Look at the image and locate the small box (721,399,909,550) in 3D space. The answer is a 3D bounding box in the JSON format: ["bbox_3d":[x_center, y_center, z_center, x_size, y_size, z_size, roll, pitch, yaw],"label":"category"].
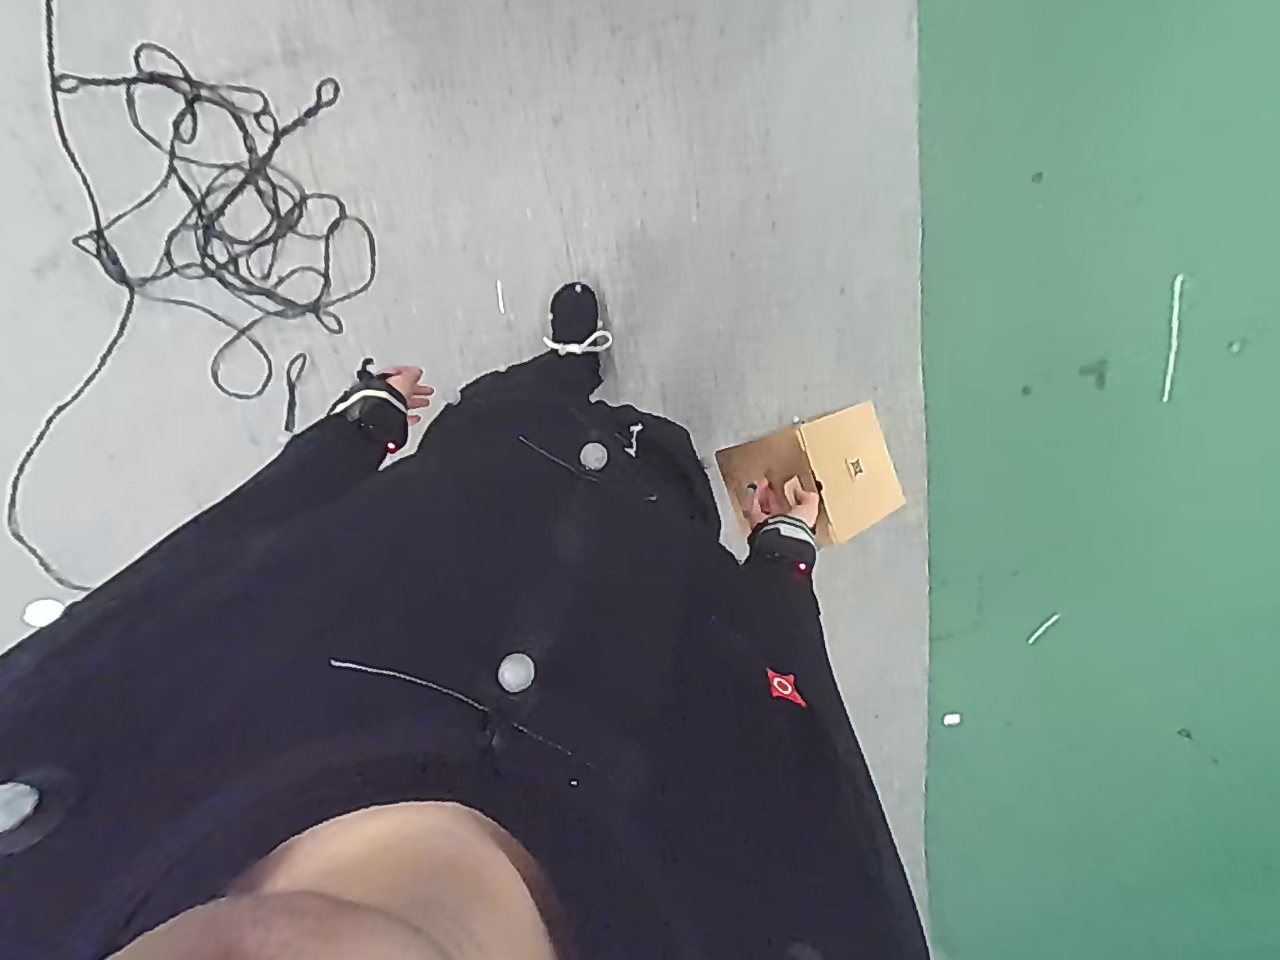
[{"bbox_3d":[0.251,-0.005,0.792,0.179,0.176,0.168,-21,92,-34],"label":"small box"}]
